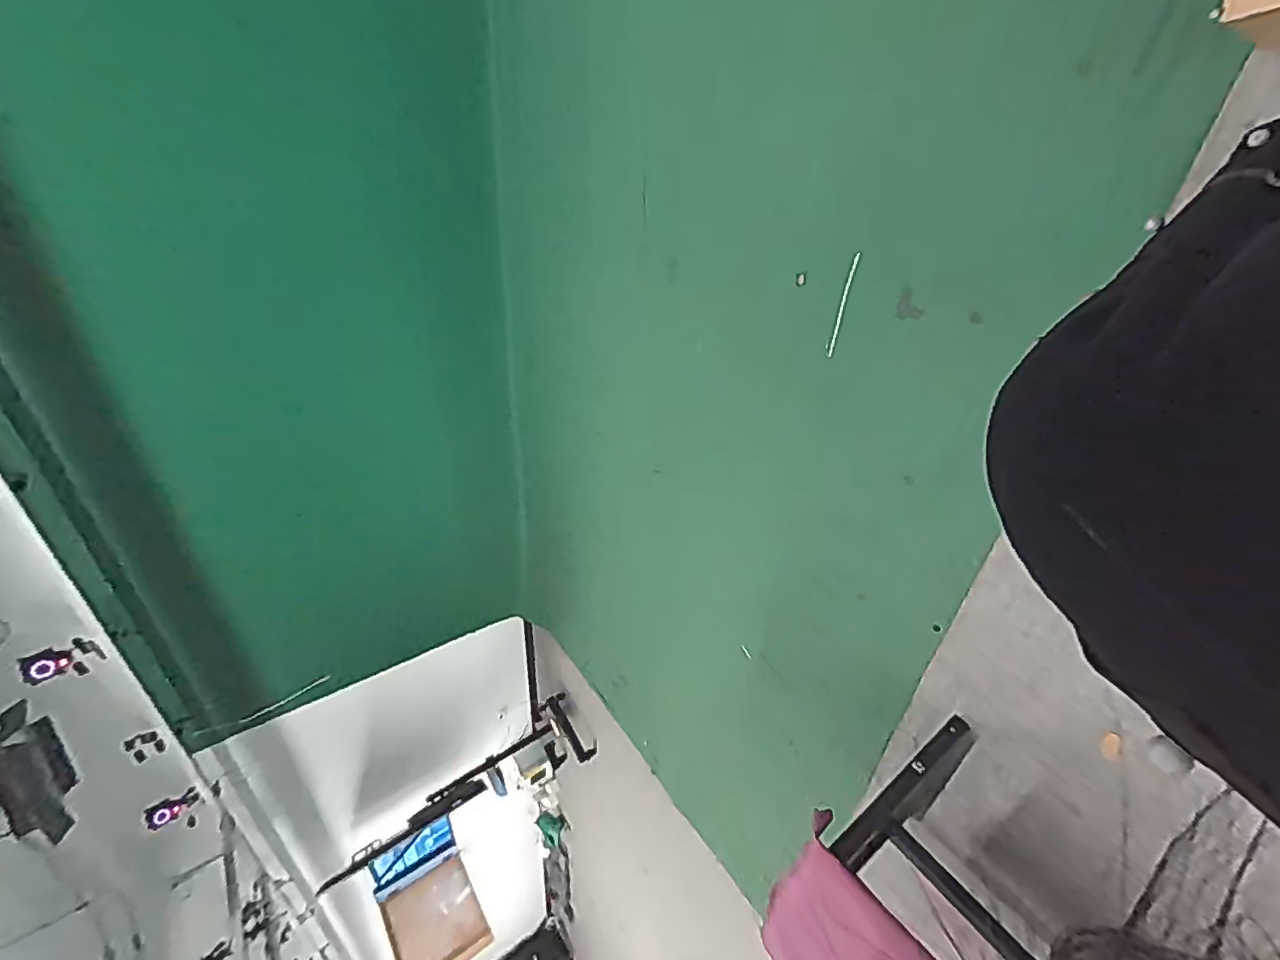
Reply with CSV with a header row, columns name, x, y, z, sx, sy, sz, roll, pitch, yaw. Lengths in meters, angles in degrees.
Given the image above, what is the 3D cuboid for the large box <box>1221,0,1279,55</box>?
name,x,y,z,sx,sy,sz,roll,pitch,yaw
large box,1.049,-0.775,0.637,0.408,0.320,0.320,23,123,52
